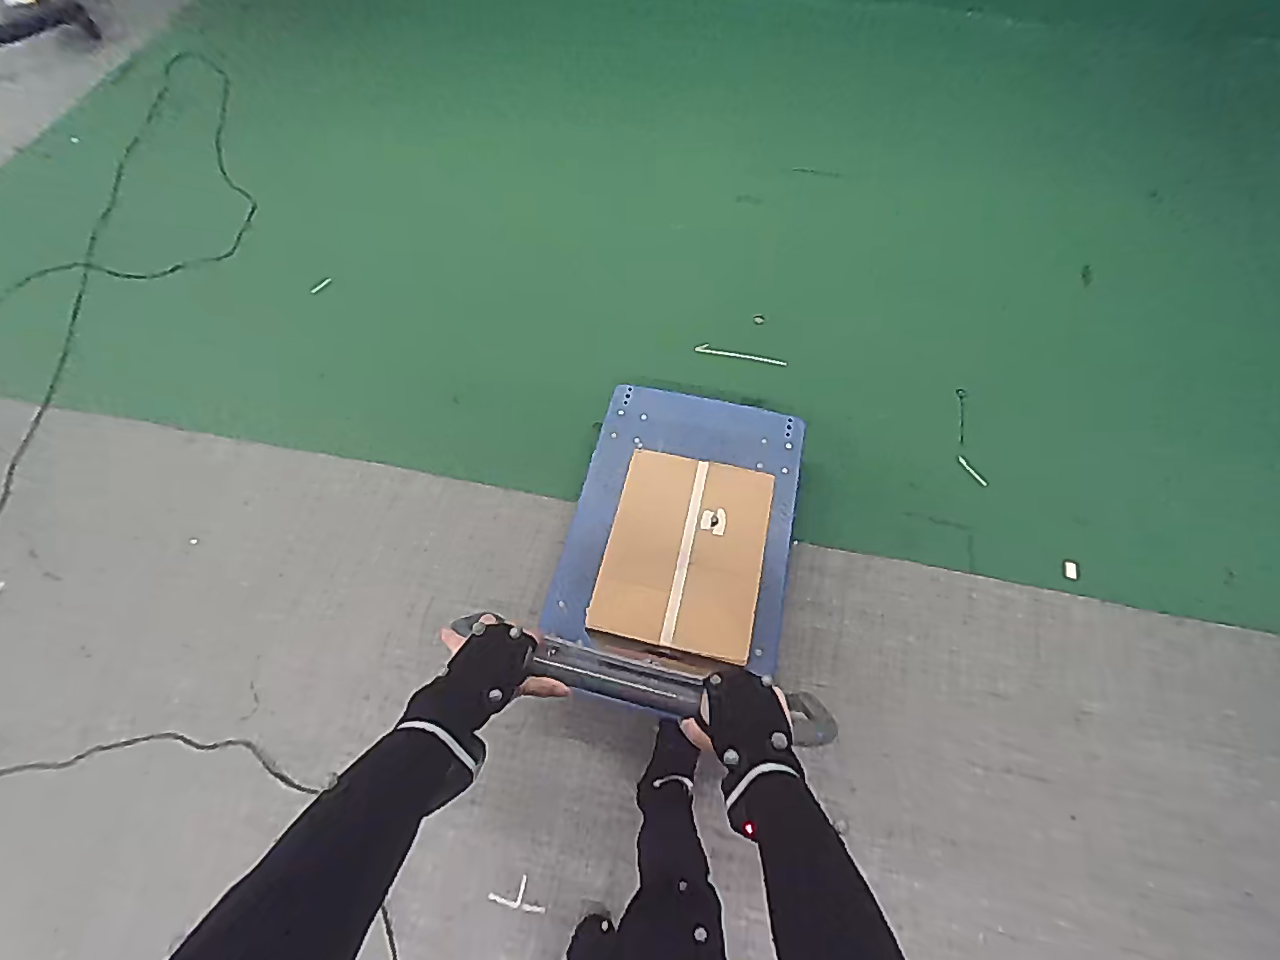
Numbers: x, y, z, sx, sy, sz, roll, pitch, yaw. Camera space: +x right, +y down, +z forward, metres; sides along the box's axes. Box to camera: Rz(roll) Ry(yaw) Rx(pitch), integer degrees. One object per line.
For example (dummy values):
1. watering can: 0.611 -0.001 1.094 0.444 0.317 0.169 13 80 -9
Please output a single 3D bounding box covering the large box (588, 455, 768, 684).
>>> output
1. large box: 0.091 0.212 1.234 0.320 0.320 0.408 12 63 6
